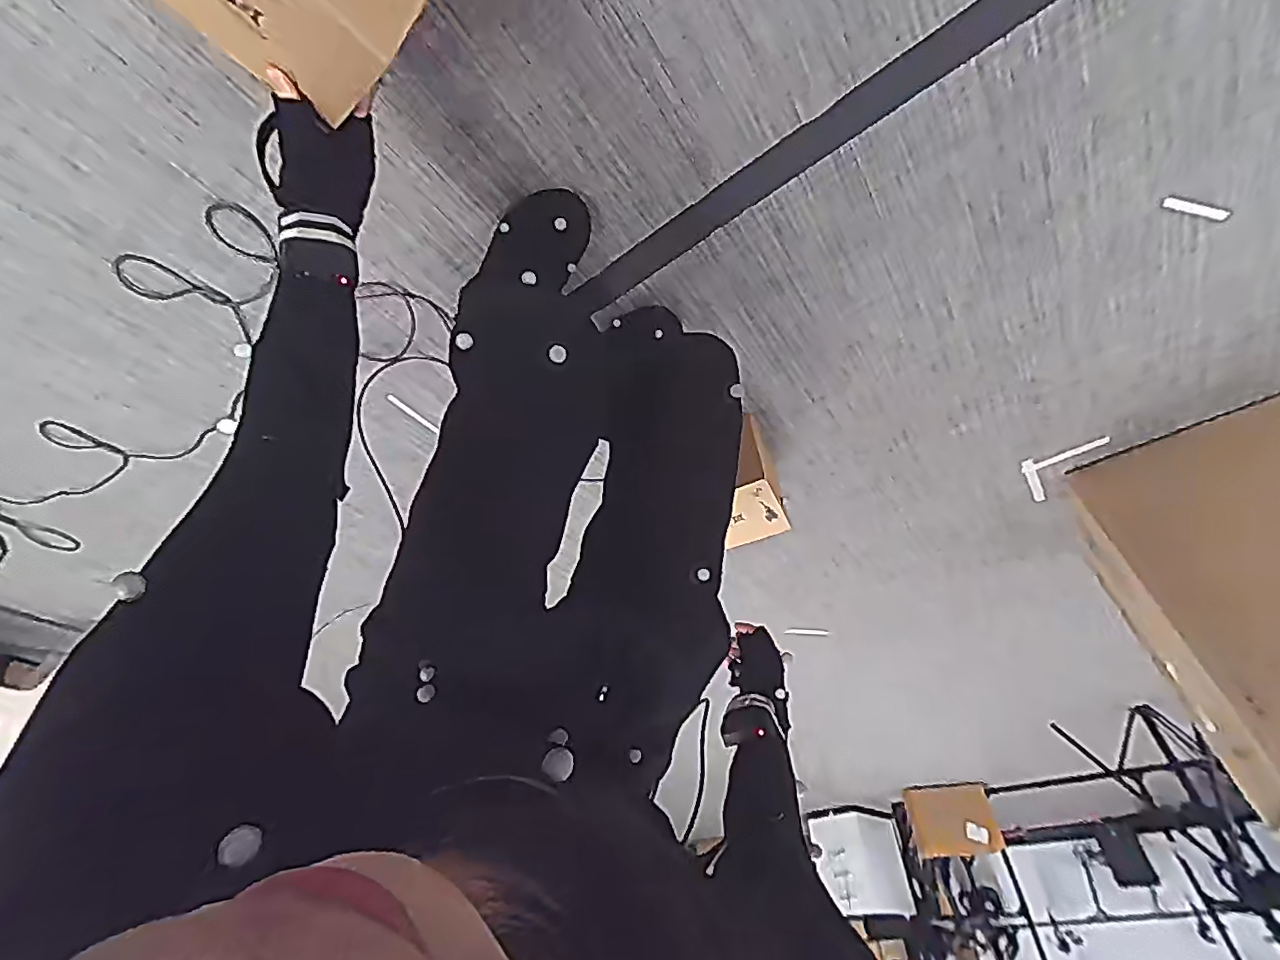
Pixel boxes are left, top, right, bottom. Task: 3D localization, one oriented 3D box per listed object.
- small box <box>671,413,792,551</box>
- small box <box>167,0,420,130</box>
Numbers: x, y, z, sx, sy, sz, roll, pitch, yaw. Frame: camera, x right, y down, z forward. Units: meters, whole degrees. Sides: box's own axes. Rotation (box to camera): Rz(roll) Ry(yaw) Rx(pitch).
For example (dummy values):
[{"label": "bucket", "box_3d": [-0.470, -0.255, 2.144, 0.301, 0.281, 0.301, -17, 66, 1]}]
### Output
[{"label": "small box", "box_3d": [0.169, 0.004, 1.022, 0.179, 0.176, 0.168, -19, 136, 20]}, {"label": "small box", "box_3d": [-0.252, -0.412, 0.396, 0.168, 0.176, 0.179, 30, 171, -41]}]
